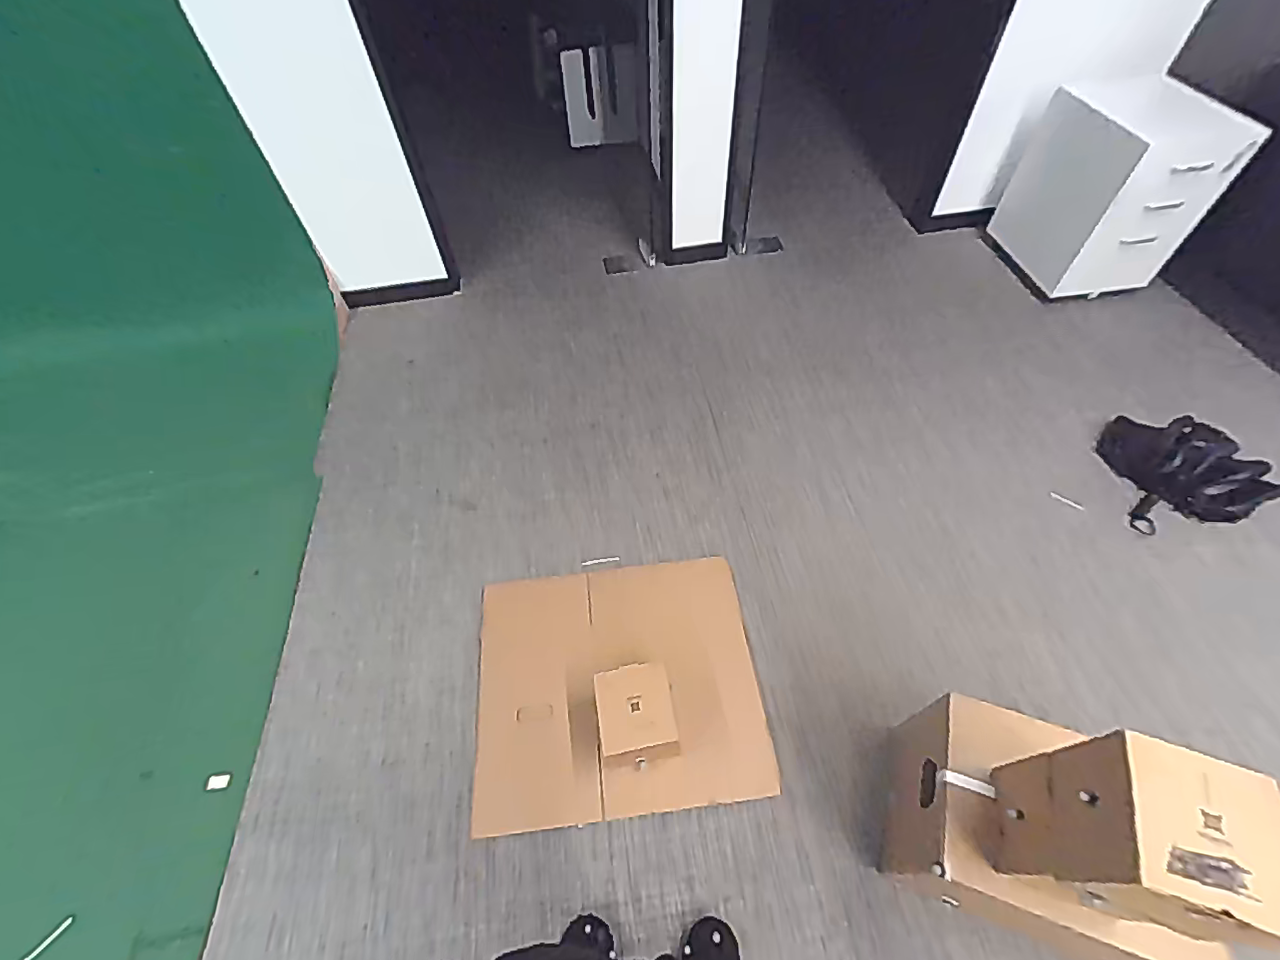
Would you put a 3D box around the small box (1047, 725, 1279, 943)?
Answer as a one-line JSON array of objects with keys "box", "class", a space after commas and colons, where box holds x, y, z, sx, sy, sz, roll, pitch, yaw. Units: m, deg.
[{"box": [0.659, 0.450, 0.693, 0.168, 0.176, 0.179, 16, 56, 14], "class": "small box"}]

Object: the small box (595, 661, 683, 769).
[{"box": [-0.001, 0.539, 1.234, 0.168, 0.176, 0.179, -13, 54, -1], "class": "small box"}]

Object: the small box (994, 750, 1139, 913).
[{"box": [0.674, 0.543, 0.832, 0.179, 0.176, 0.168, 12, 54, 11], "class": "small box"}]
